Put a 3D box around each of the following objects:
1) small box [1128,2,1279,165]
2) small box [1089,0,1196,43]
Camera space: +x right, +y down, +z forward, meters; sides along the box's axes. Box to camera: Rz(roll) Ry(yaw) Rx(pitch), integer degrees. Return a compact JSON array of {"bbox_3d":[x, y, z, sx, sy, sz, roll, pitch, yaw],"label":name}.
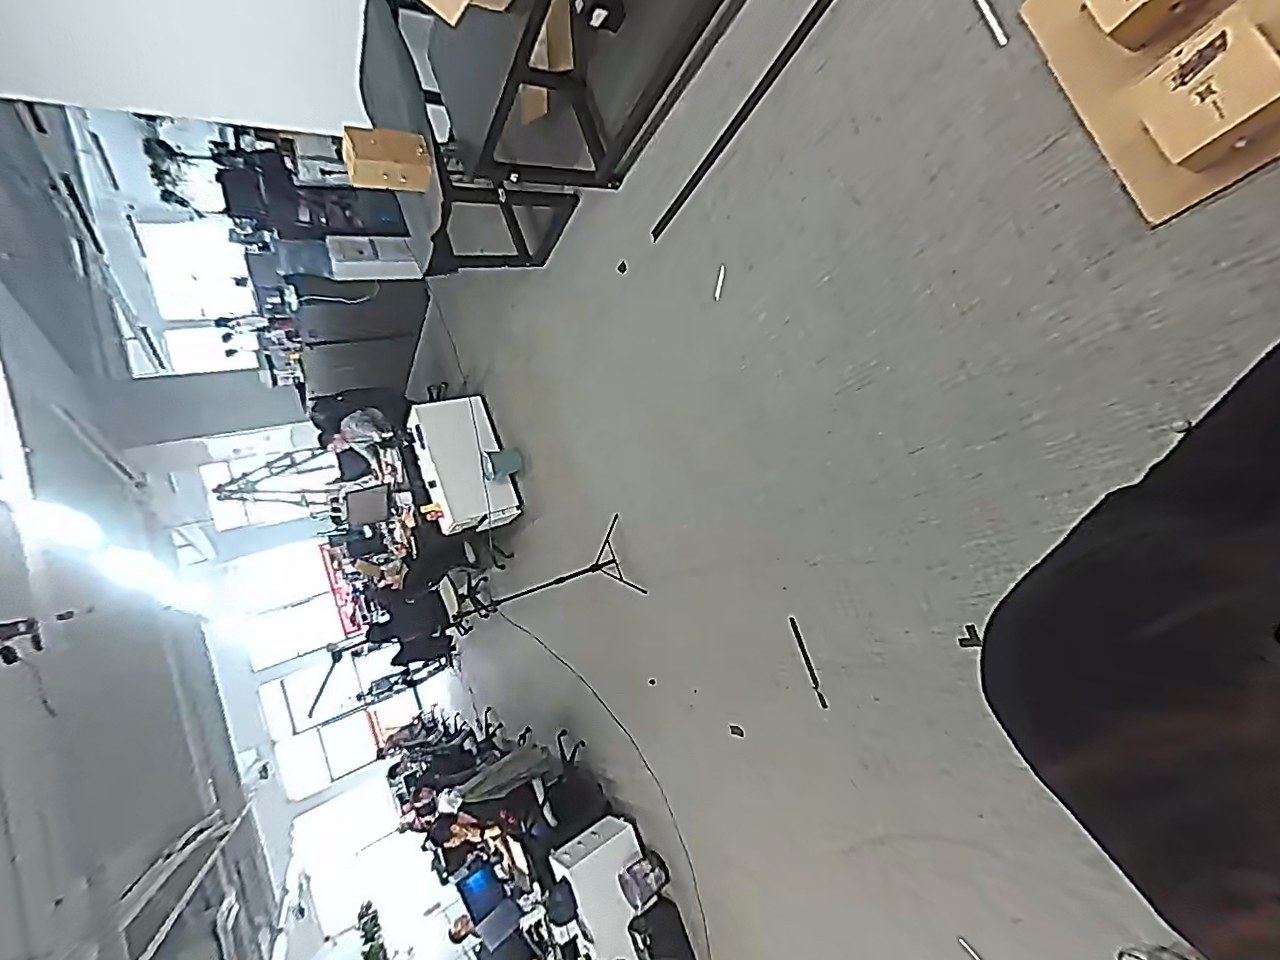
[{"bbox_3d":[1.062,-0.712,0.996,0.168,0.176,0.179,-37,74,56],"label":"small box"},{"bbox_3d":[0.967,-0.980,1.024,0.168,0.176,0.179,-36,74,56],"label":"small box"}]
